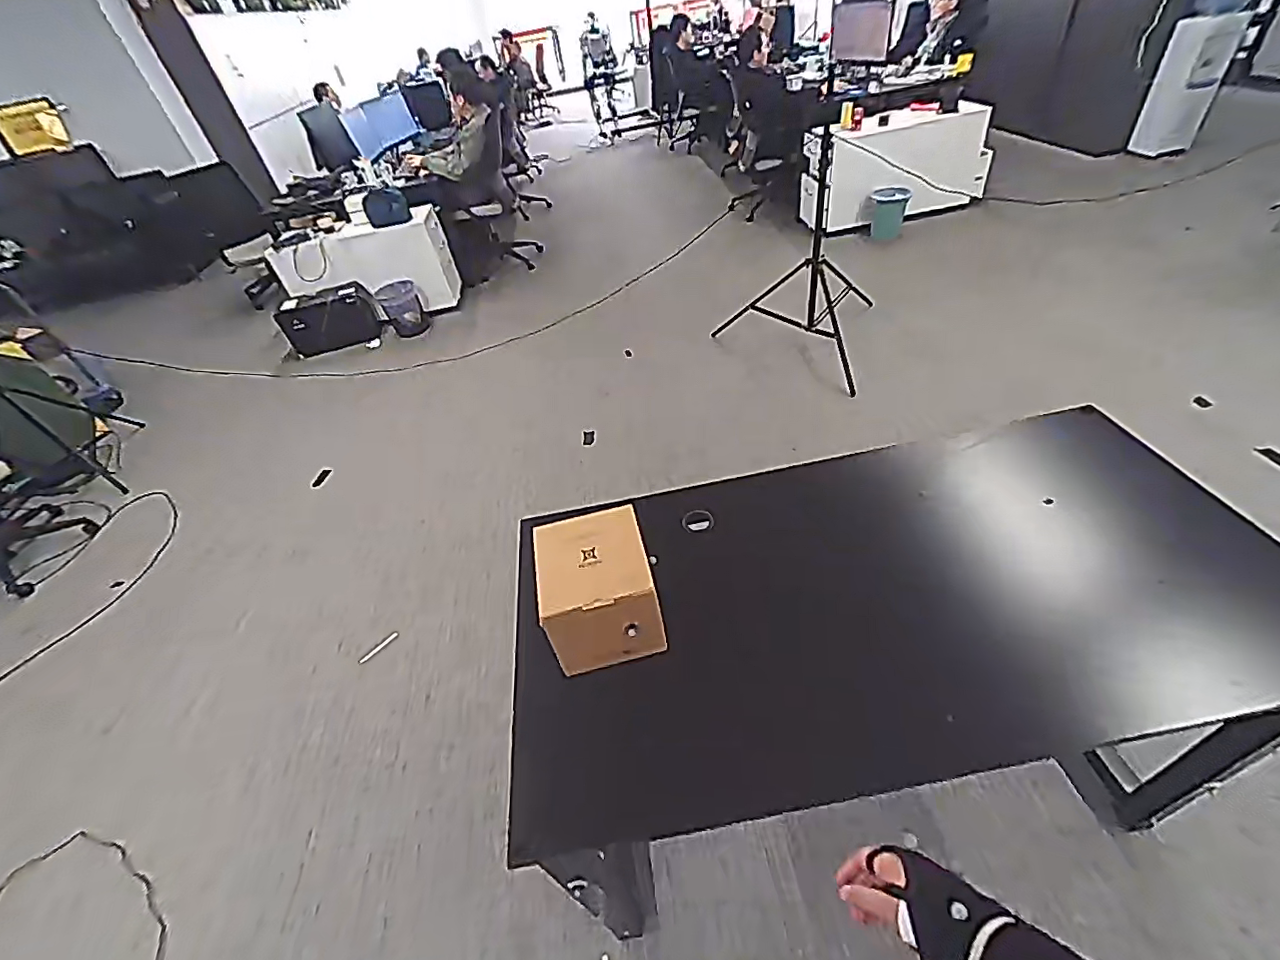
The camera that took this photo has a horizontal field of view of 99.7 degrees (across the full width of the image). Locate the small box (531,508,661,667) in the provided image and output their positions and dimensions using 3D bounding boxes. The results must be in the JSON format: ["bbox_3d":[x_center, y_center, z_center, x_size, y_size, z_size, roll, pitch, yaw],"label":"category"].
[{"bbox_3d":[-0.069,0.178,0.866,0.168,0.176,0.179,-13,41,-4],"label":"small box"}]
